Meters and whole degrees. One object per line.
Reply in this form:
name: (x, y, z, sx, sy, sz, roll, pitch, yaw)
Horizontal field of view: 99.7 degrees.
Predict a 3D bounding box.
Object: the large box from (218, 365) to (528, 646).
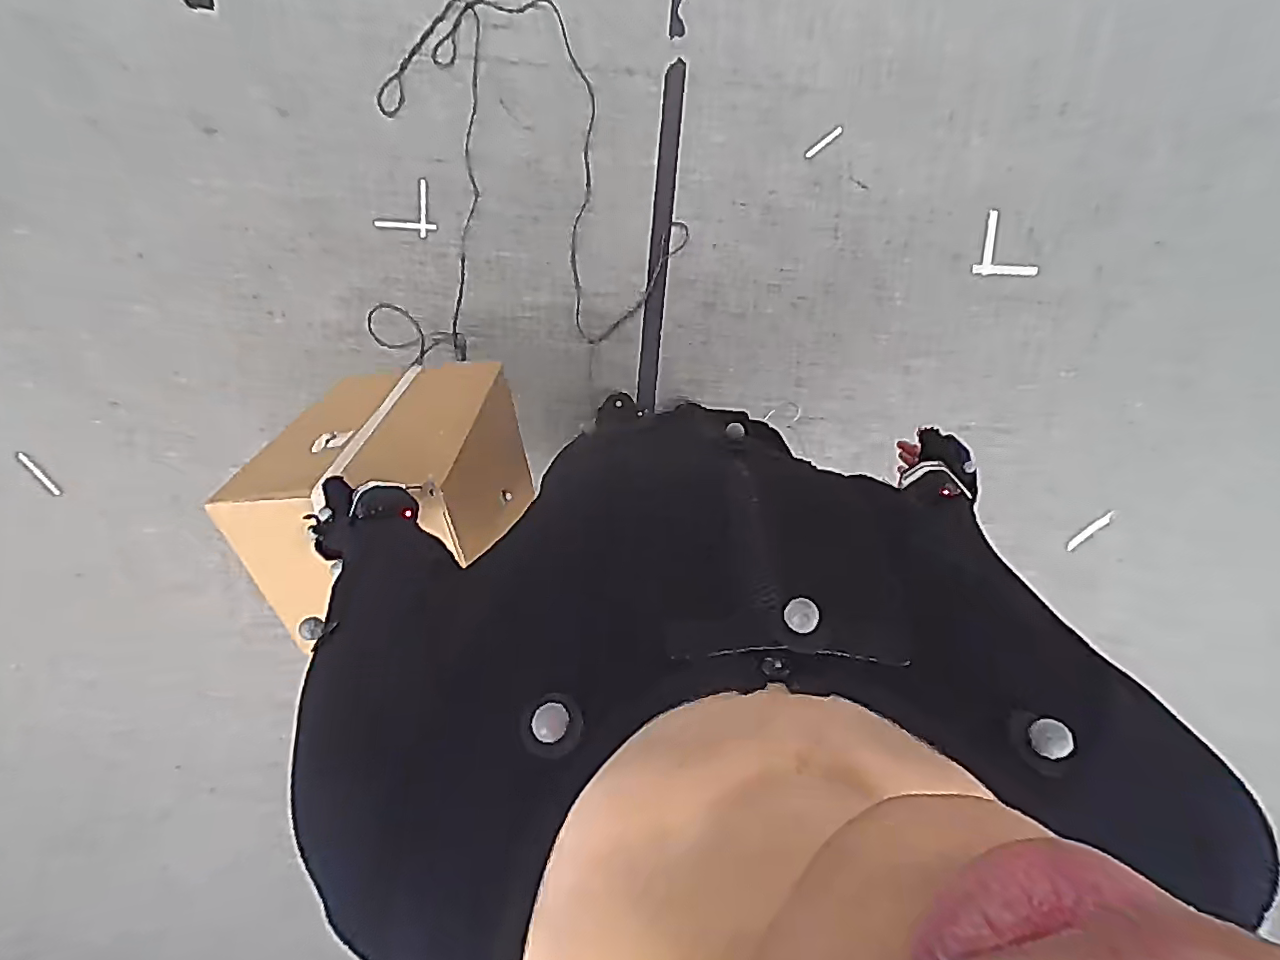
large box: (-0.400, 0.028, 0.952, 0.320, 0.408, 0.320, -4, 126, 3)
